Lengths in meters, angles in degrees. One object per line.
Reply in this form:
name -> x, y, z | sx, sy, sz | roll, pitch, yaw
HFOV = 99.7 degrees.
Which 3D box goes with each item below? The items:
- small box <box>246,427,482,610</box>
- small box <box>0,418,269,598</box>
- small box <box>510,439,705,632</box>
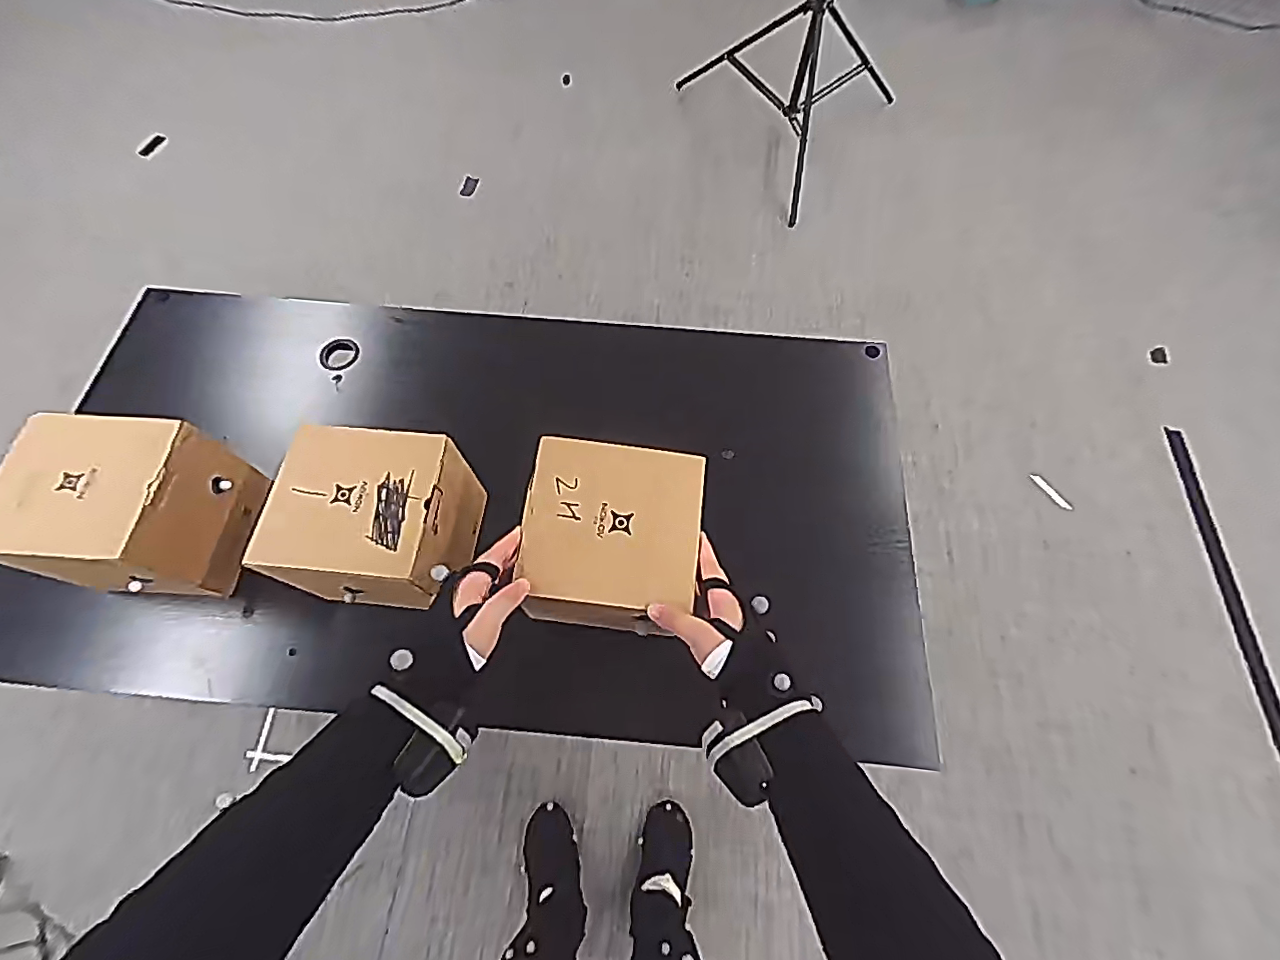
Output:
small box -> -0.305, 0.054, 0.646 | 0.179, 0.176, 0.168 | 5, 66, 3
small box -> -0.599, 0.041, 0.652 | 0.179, 0.176, 0.168 | 2, 65, 1
small box -> -0.032, 0.073, 0.610 | 0.179, 0.176, 0.168 | 7, 67, 0
